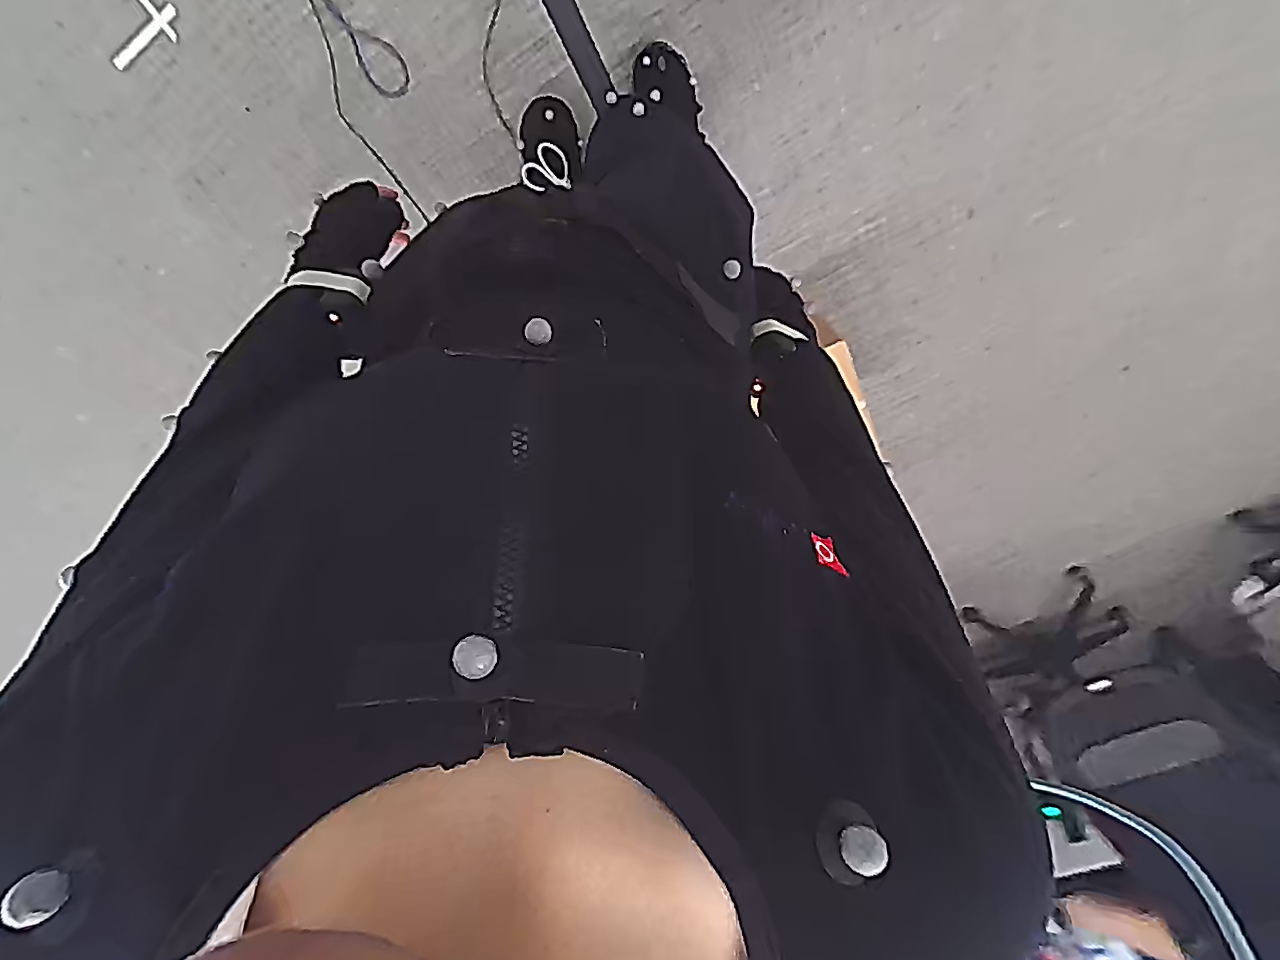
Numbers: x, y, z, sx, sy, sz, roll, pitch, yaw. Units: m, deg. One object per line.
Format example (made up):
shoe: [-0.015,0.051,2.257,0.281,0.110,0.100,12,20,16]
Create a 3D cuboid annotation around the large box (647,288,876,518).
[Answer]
large box: [0.267,-0.181,1.272,0.408,0.320,0.320,-25,126,13]
